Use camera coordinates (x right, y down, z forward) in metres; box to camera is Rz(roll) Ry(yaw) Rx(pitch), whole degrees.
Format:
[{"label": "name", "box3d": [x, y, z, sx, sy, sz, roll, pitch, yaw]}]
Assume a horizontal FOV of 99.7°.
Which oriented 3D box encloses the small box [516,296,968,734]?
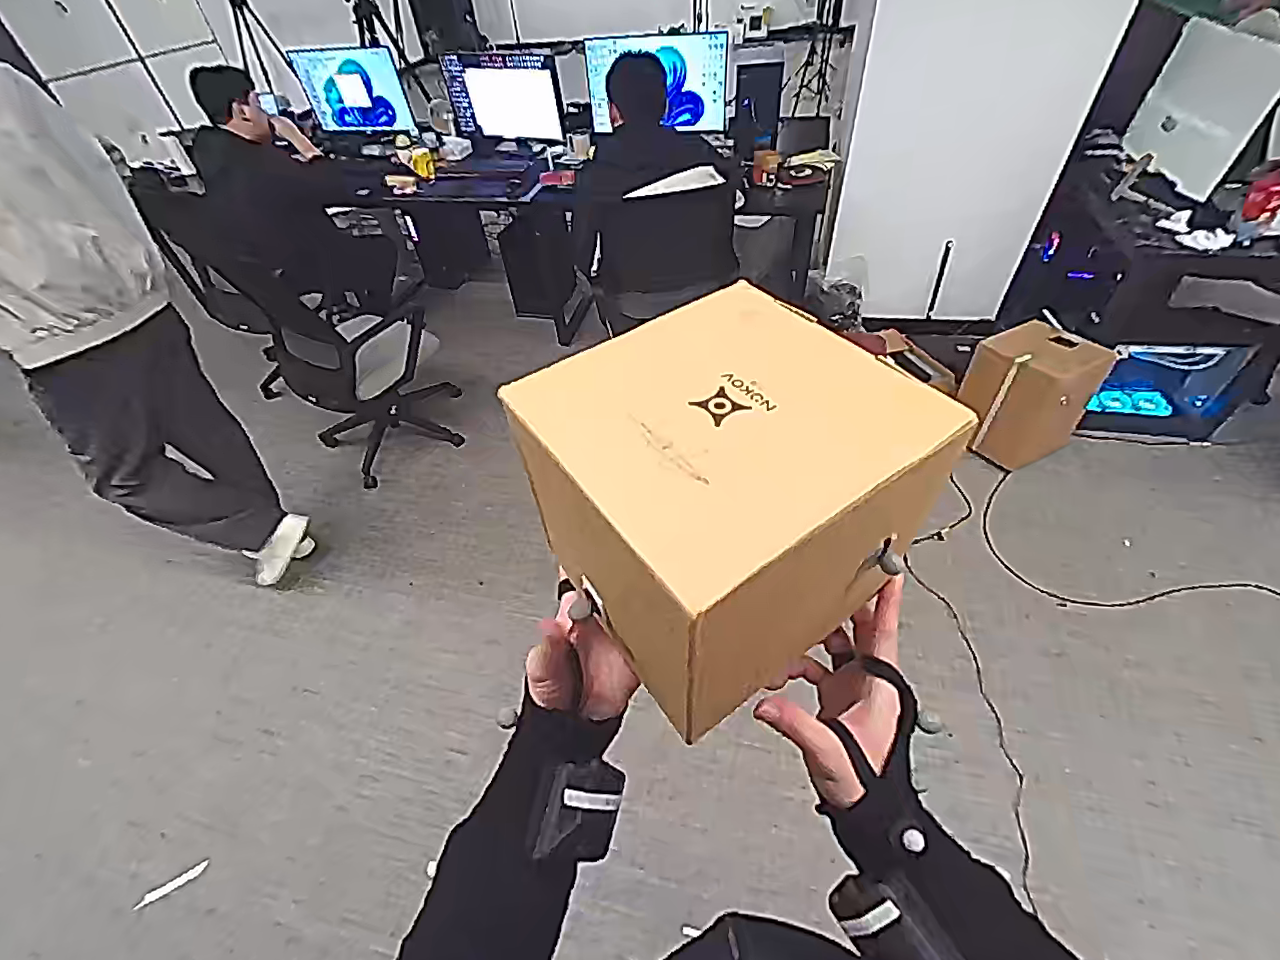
[{"label": "small box", "box3d": [0.051, 0.021, 0.340, 0.179, 0.176, 0.168, -31, 54, -20]}]
